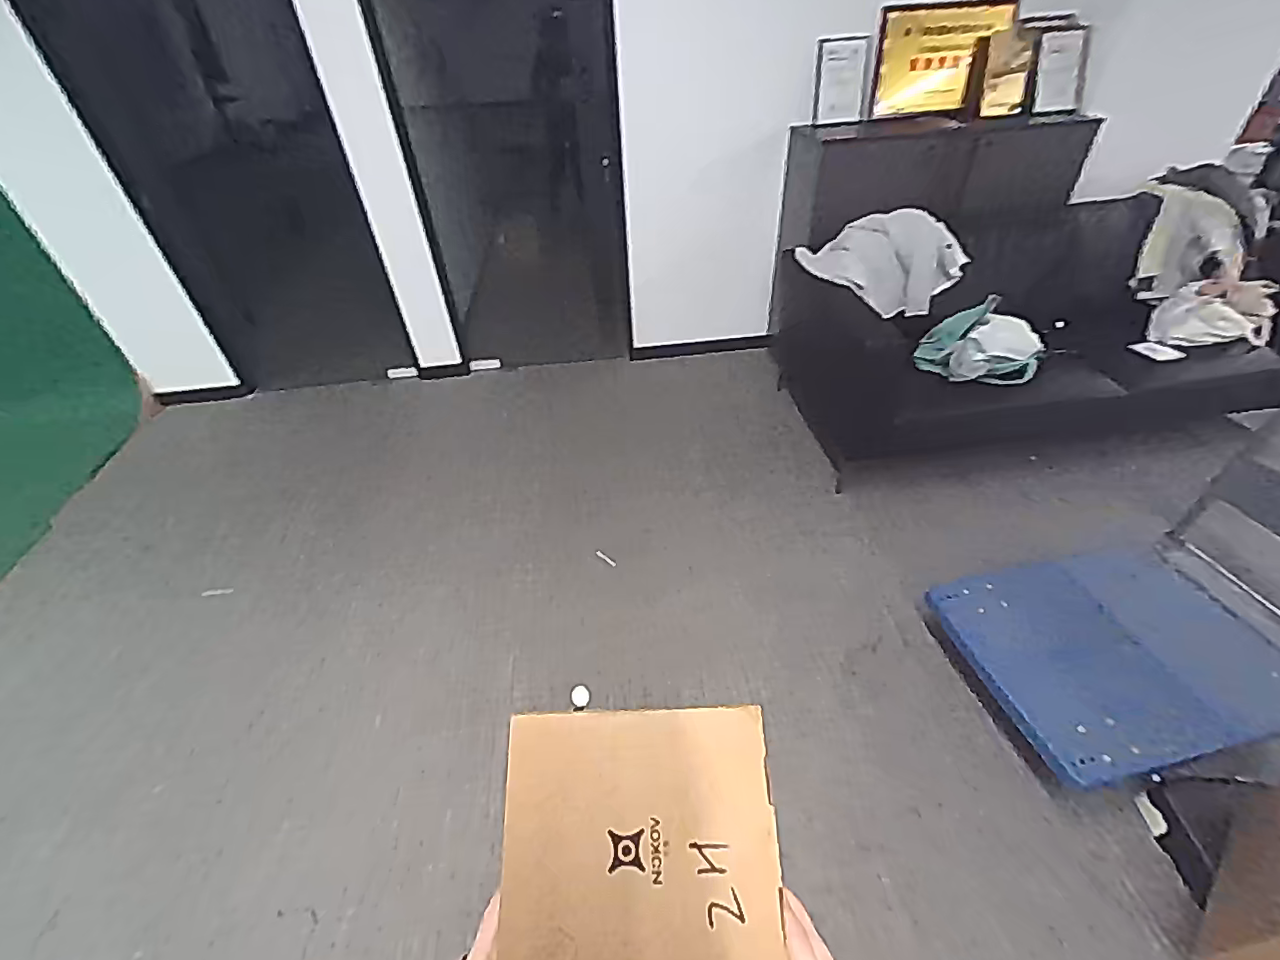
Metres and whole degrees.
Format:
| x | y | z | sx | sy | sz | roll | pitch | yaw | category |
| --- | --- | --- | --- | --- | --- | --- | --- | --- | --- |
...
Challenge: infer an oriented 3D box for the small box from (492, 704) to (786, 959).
| x | y | z | sx | sy | sz | roll | pitch | yaw | category |
| --- | --- | --- | --- | --- | --- | --- | --- | --- | --- |
| -0.002 | 0.263 | 0.412 | 0.179 | 0.176 | 0.168 | -2 | 69 | -2 | small box |
